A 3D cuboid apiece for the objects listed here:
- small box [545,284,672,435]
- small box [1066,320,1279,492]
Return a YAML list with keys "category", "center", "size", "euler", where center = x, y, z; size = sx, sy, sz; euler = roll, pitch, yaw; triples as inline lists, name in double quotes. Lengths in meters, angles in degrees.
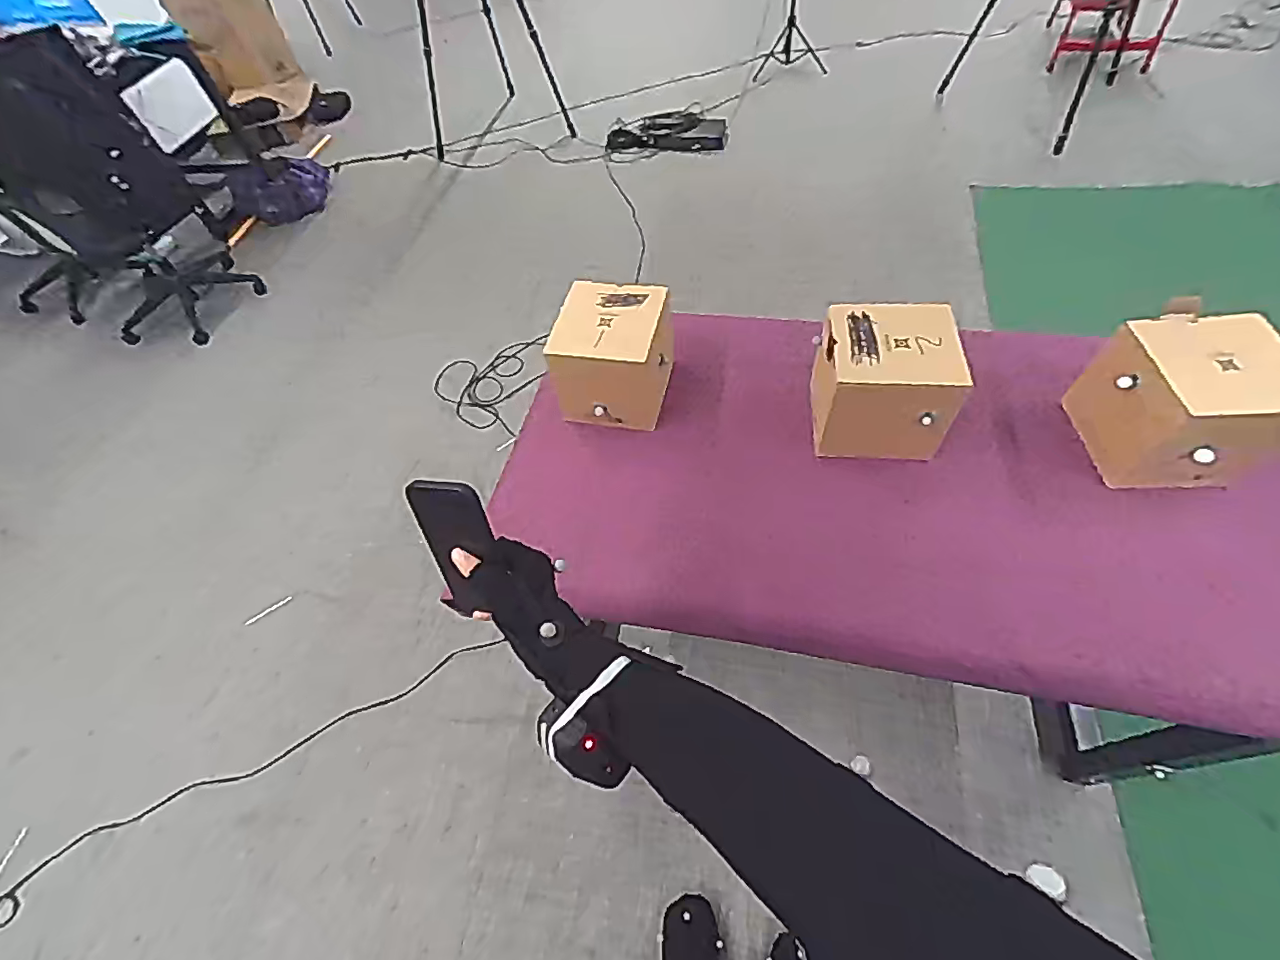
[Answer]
- category: "small box"
  center: [-0.041, -0.203, 0.918]
  size: [0.168, 0.176, 0.179]
  euler: [8, 59, 12]
- category: "small box"
  center: [0.748, -0.094, 0.749]
  size: [0.168, 0.176, 0.179]
  euler: [-2, 55, 7]
